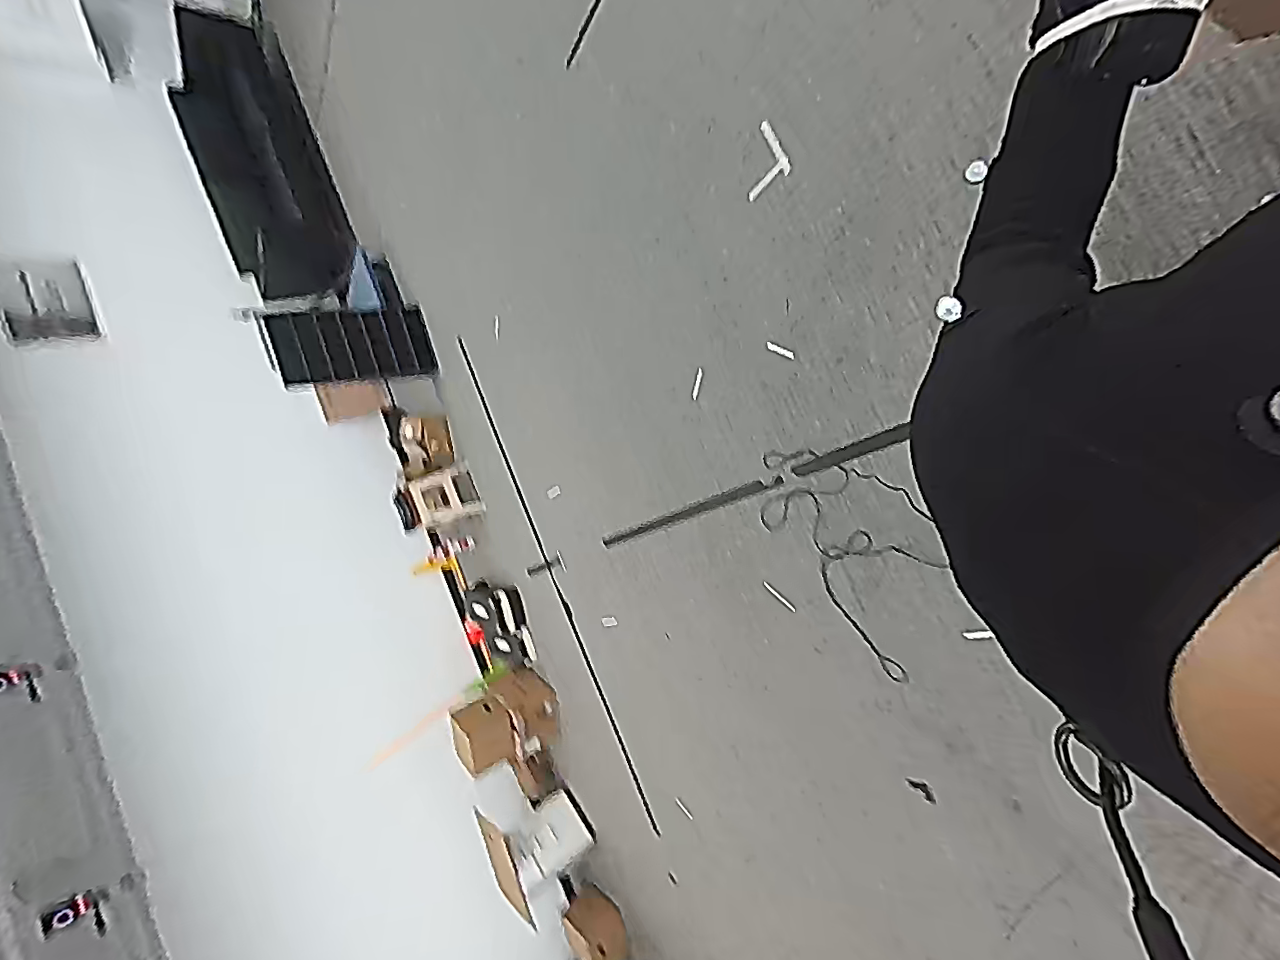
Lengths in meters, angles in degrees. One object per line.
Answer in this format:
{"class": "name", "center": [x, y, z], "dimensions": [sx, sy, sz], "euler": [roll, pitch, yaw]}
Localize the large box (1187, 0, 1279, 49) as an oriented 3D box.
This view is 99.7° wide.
{"class": "large box", "center": [0.558, -0.470, 0.238], "dimensions": [0.408, 0.320, 0.320], "euler": [16, 122, 48]}
